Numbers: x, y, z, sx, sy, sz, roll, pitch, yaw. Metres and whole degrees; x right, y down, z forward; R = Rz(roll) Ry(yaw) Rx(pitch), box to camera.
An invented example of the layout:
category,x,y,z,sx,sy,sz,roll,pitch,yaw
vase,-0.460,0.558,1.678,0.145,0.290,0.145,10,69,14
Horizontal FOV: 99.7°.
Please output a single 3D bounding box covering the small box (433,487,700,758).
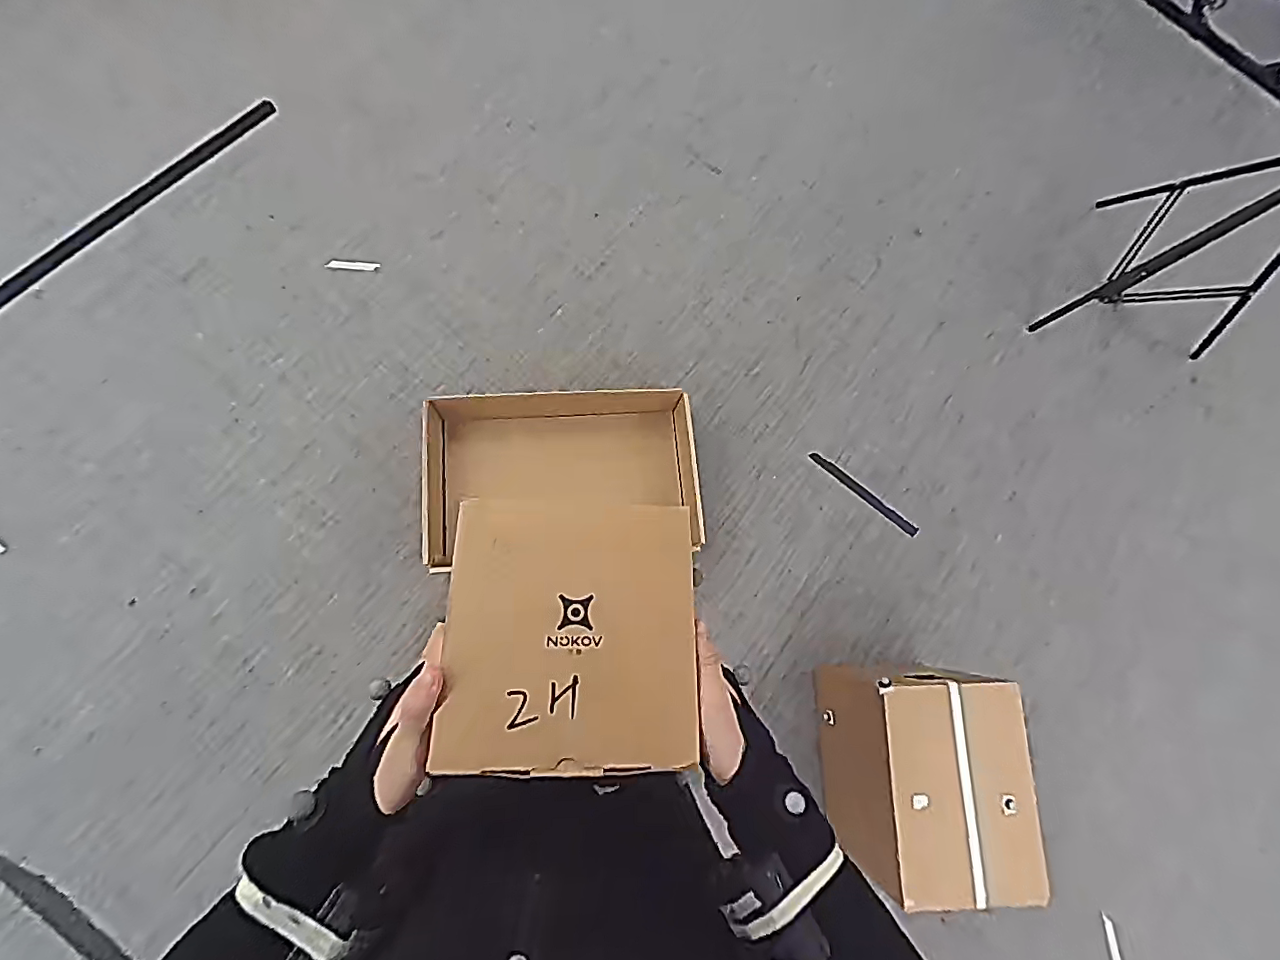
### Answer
category,x,y,z,sx,sy,sz,roll,pitch,yaw
small box,-0.054,0.119,0.435,0.168,0.176,0.179,3,68,-7
